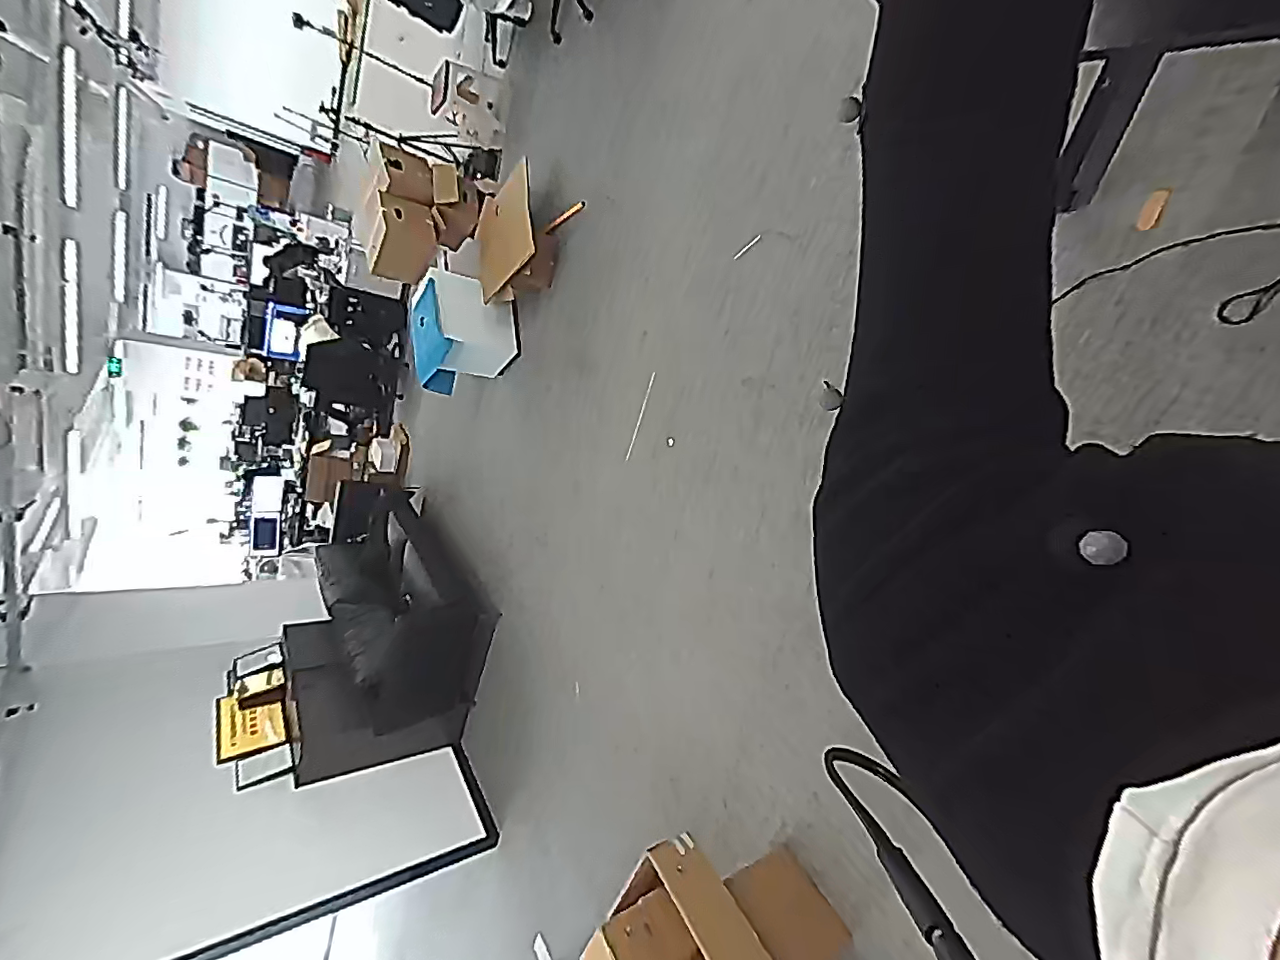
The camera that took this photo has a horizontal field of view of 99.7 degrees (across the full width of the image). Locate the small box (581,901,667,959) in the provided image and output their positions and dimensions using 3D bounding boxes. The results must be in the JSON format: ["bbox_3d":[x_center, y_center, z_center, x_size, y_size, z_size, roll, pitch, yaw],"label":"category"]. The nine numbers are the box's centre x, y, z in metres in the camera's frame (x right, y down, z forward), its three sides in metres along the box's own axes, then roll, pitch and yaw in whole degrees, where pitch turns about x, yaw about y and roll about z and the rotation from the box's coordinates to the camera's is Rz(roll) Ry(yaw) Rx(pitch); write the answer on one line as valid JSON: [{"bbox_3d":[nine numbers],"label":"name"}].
[{"bbox_3d":[-0.042,1.390,1.583,0.168,0.176,0.179,45,121,44],"label":"small box"}]
